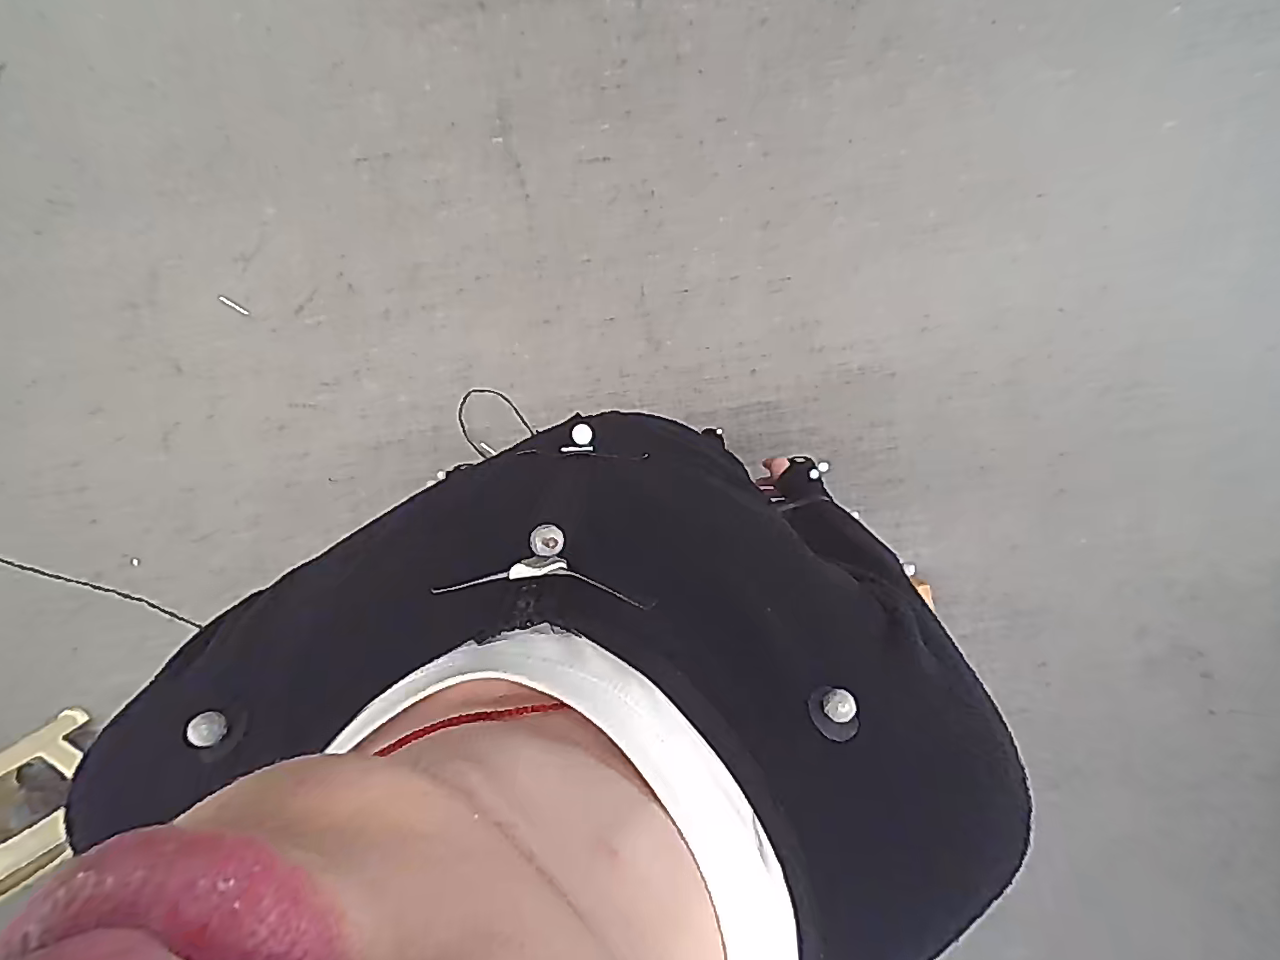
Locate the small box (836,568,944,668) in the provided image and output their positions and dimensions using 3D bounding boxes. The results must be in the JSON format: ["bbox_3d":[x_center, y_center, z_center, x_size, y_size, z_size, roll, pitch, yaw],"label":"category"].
[{"bbox_3d":[0.678,0.370,1.487,0.179,0.176,0.168,-42,95,4],"label":"small box"}]
